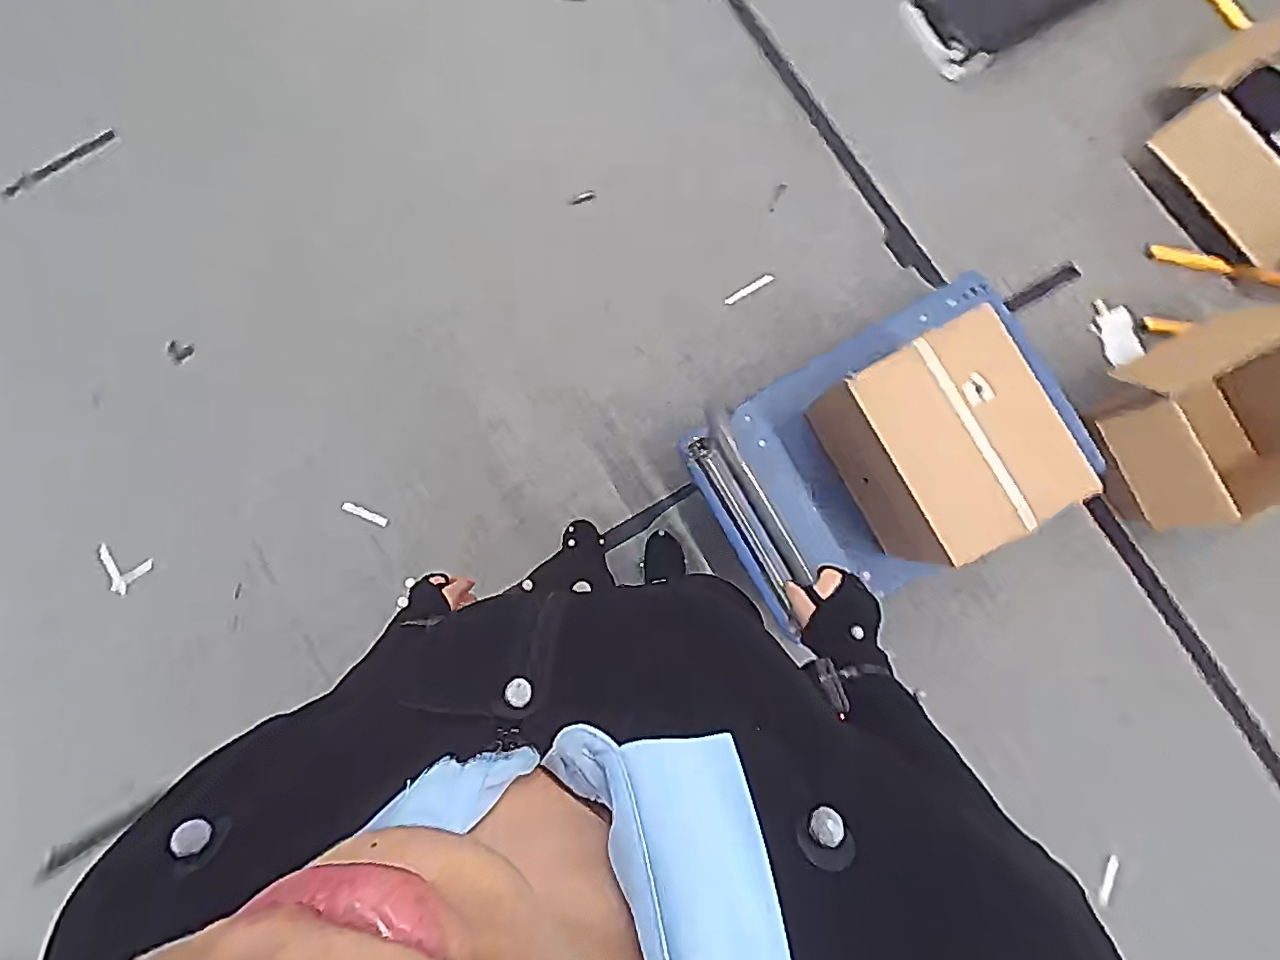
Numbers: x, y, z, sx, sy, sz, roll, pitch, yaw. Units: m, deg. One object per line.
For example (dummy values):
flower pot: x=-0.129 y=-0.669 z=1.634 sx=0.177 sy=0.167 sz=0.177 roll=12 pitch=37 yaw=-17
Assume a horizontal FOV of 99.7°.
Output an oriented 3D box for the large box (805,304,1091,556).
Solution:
large box: x=0.625 y=-0.086 z=1.176 sx=0.320 sy=0.320 sz=0.408 roll=-29 pitch=84 yaw=-1
